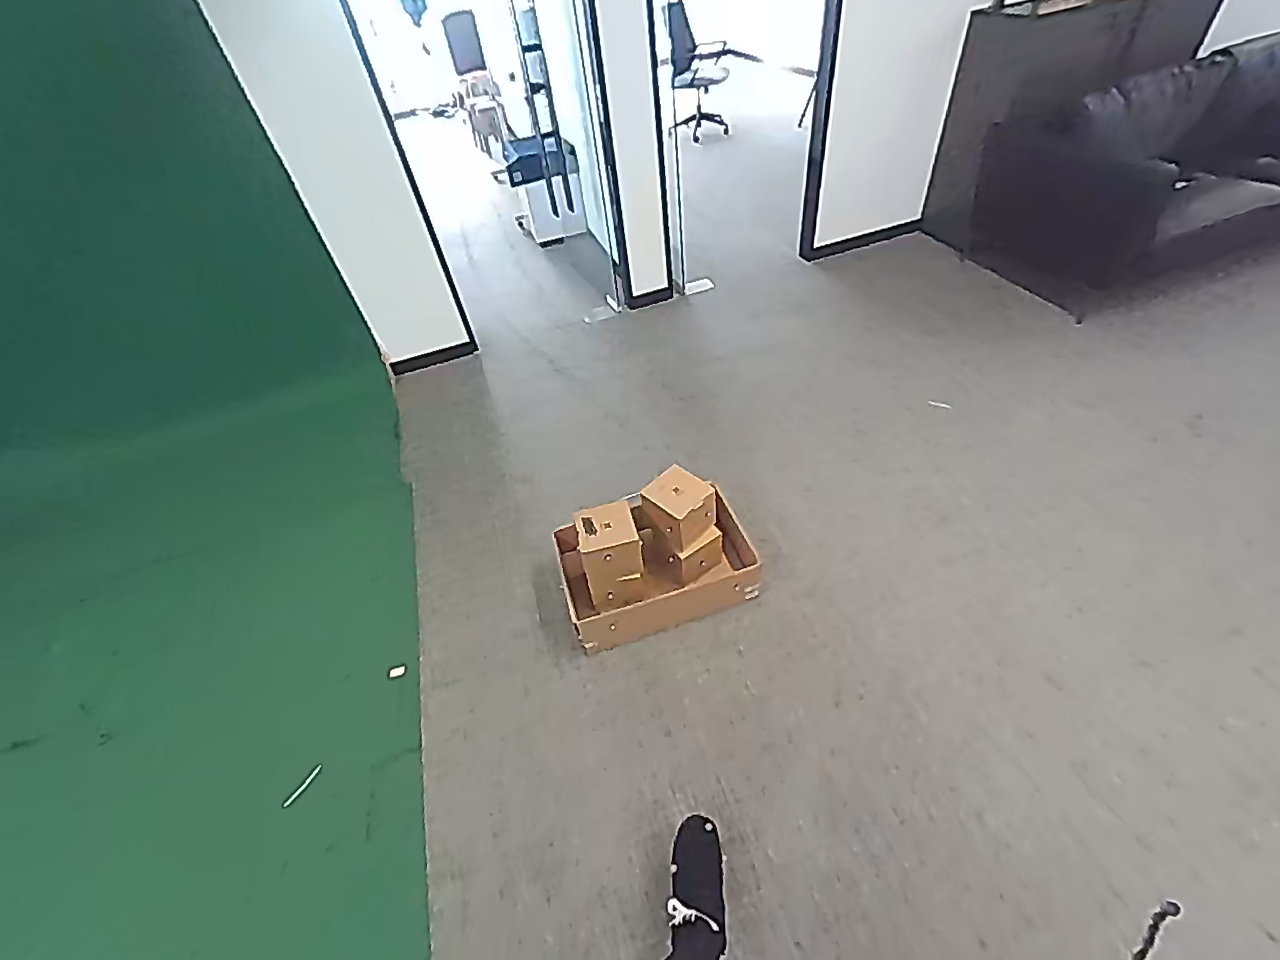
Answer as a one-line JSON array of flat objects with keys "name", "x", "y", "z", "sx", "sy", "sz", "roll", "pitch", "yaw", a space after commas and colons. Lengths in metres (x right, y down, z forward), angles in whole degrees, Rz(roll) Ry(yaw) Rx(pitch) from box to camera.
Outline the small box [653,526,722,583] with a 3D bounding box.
[{"name": "small box", "x": 0.163, "y": 0.223, "z": 1.828, "sx": 0.168, "sy": 0.176, "sz": 0.179, "roll": -29, "pitch": 49, "yaw": -18}]

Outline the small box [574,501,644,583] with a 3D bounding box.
[{"name": "small box", "x": -0.094, "y": 0.196, "z": 1.663, "sx": 0.179, "sy": 0.176, "sz": 0.168, "roll": -13, "pitch": 45, "yaw": -6}]

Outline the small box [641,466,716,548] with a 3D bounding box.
[{"name": "small box", "x": 0.129, "y": 0.093, "z": 1.731, "sx": 0.168, "sy": 0.176, "sz": 0.179, "roll": -38, "pitch": 52, "yaw": -25}]
